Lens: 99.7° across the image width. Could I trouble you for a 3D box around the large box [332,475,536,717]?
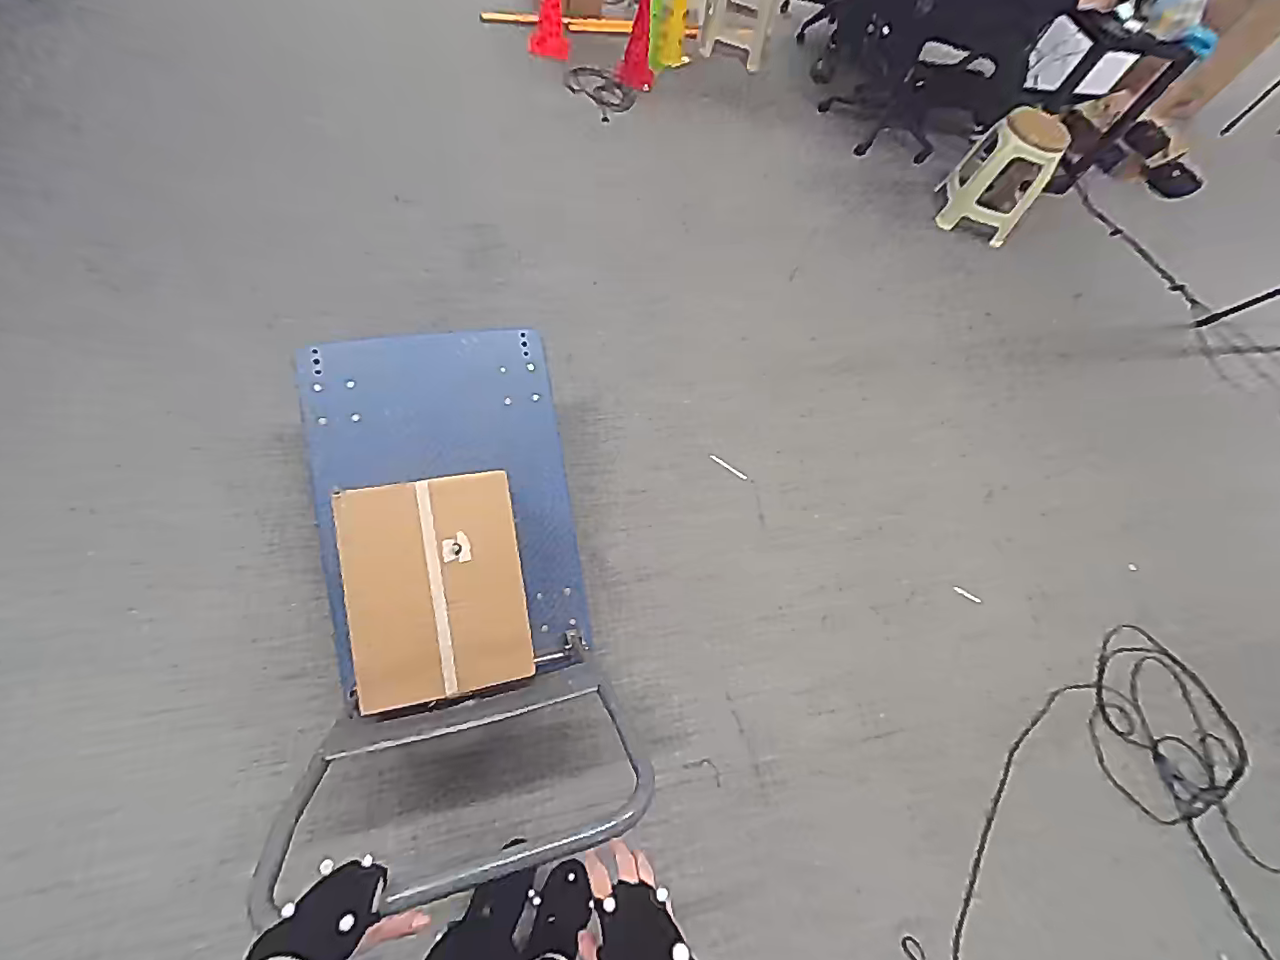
[{"bbox_3d":[-0.418,0.223,1.155,0.320,0.320,0.408,-9,87,-16],"label":"large box"}]
